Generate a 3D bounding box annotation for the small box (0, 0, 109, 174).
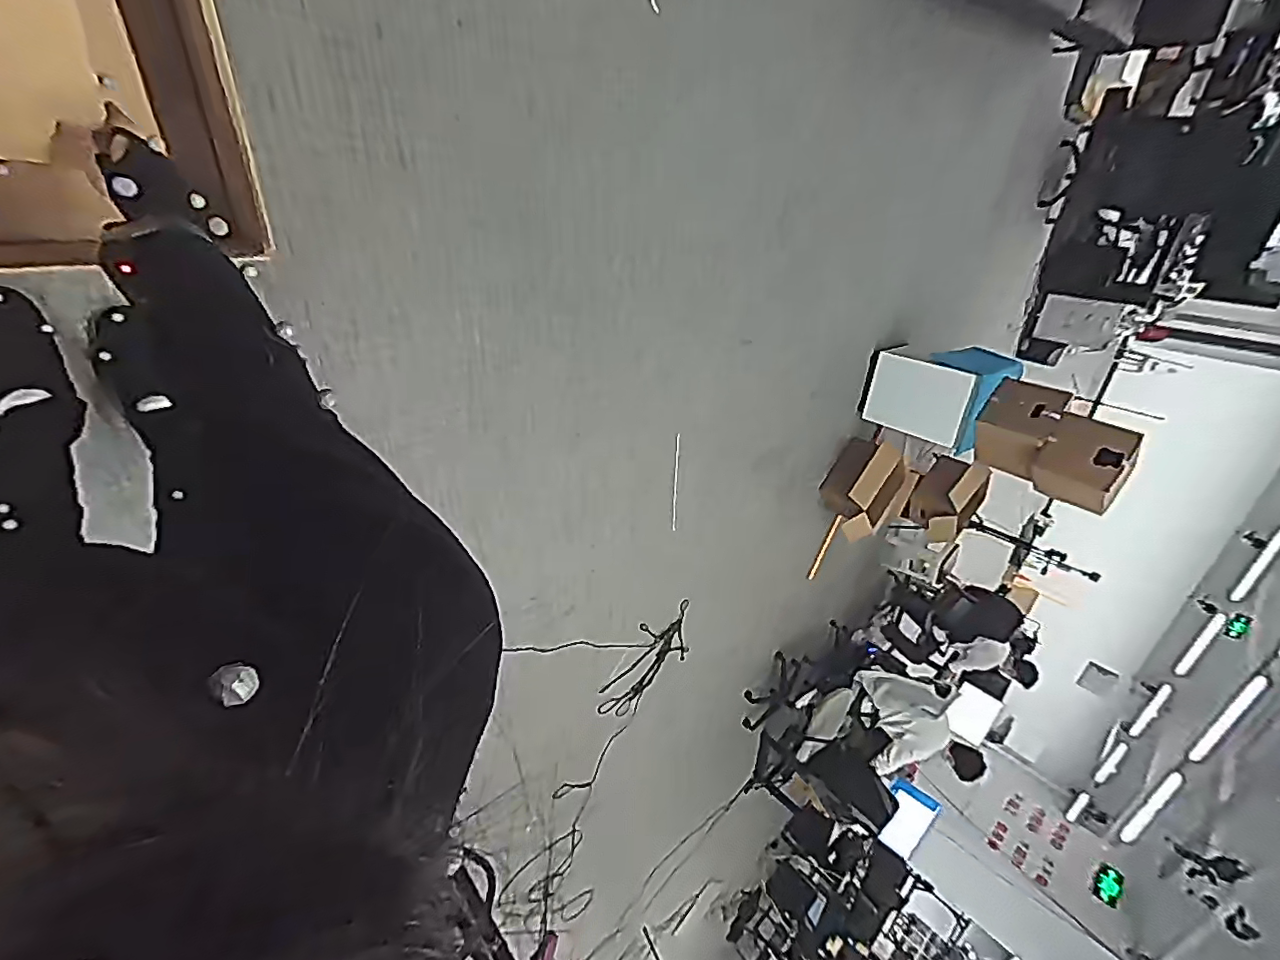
[{"bbox_3d":[-0.598,-0.381,0.473,0.168,0.176,0.179,-16,123,-39],"label":"small box"}]
